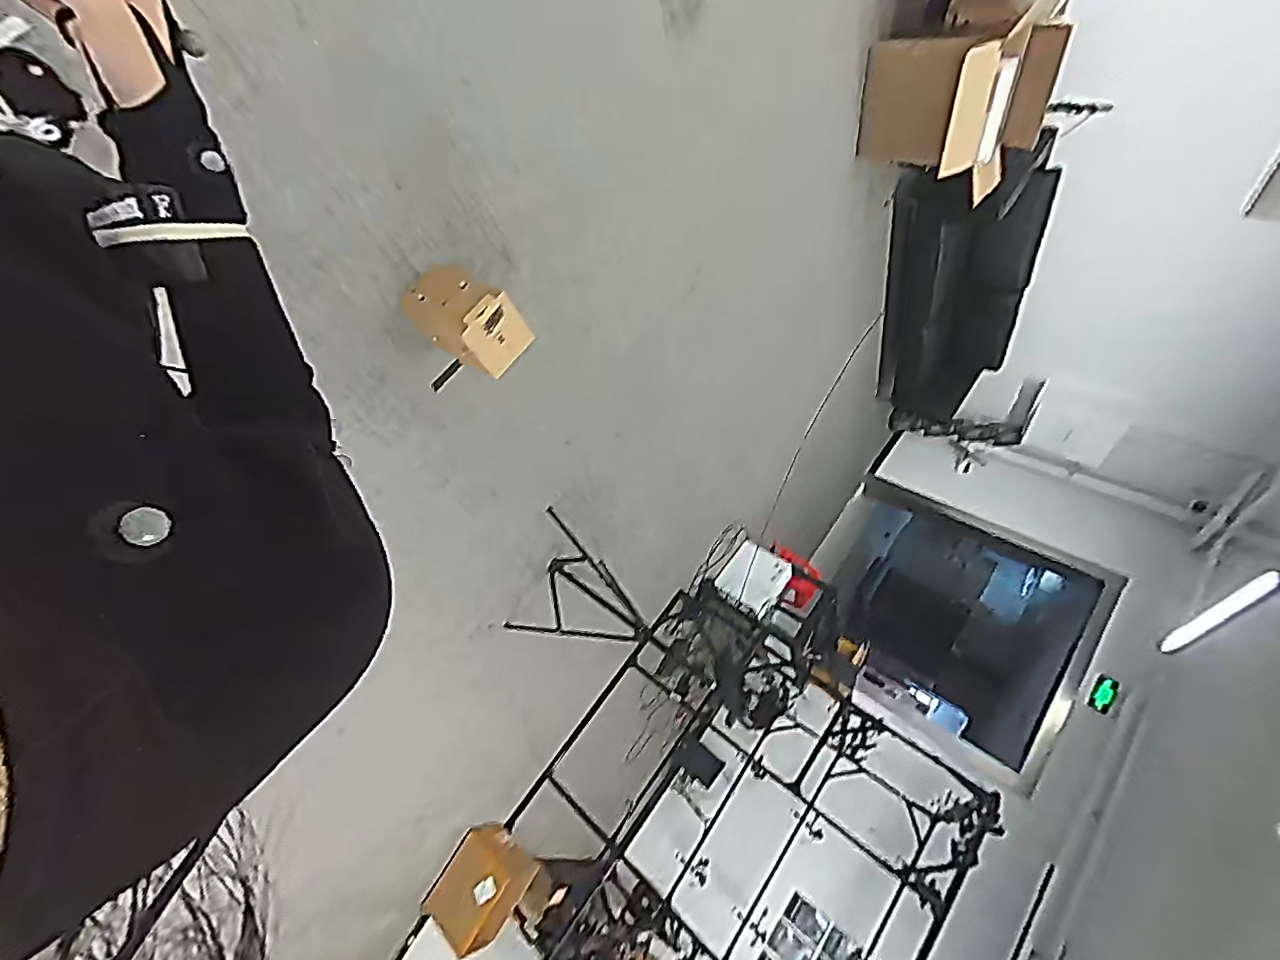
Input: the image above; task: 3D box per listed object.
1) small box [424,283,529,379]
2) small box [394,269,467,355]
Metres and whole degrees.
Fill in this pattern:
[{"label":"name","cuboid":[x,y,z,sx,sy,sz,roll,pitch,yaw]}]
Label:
[{"label":"small box","cuboid":[-0.438,-0.404,1.446,0.168,0.176,0.179,-52,147,-14]},{"label":"small box","cuboid":[-0.557,-0.475,1.537,0.168,0.176,0.179,-52,147,-13]}]
